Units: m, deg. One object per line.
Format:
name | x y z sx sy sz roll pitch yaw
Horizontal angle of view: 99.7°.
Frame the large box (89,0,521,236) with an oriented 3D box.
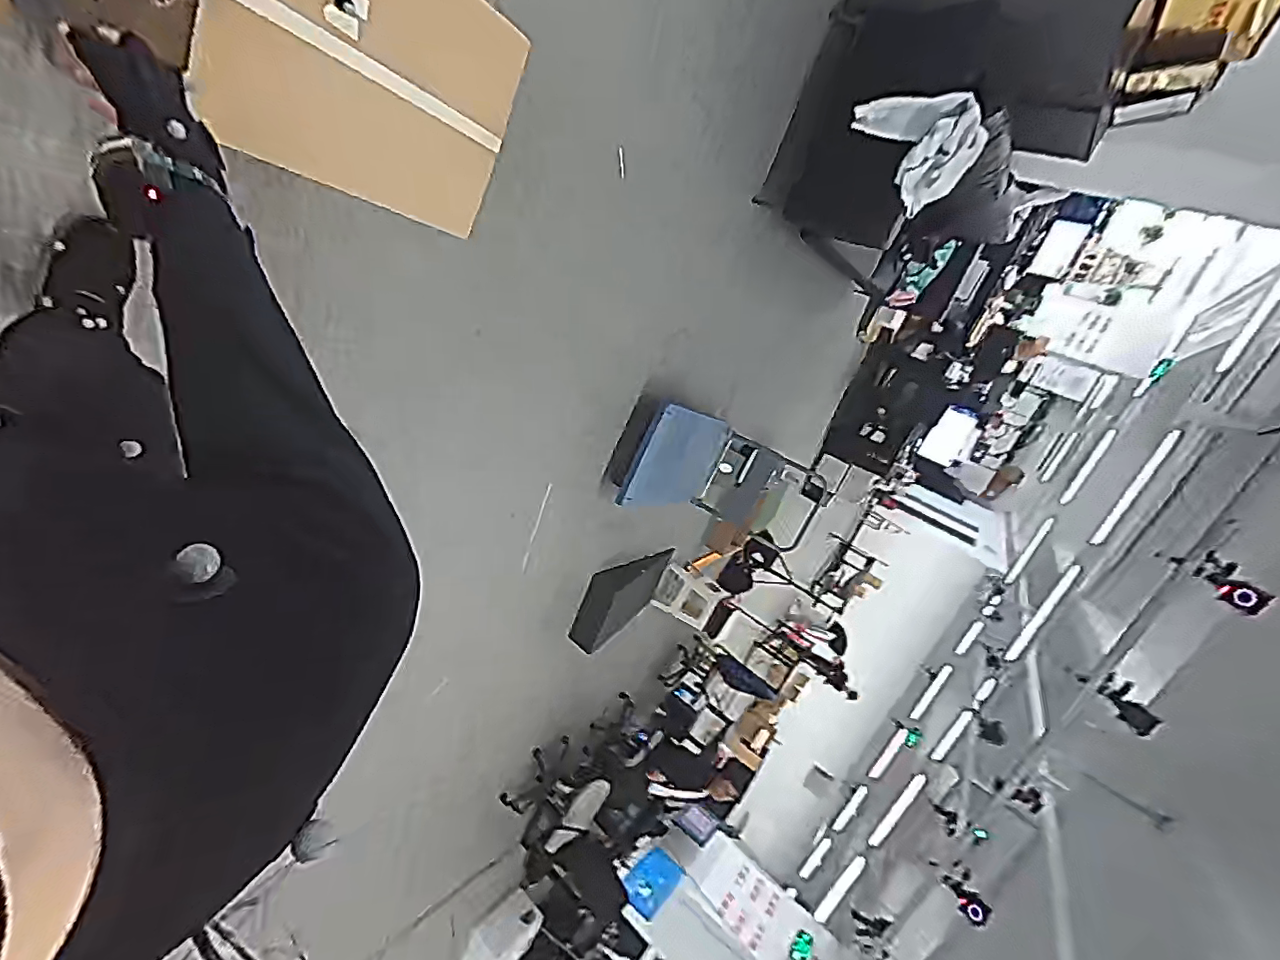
large box | -0.458 -0.611 0.773 0.408 0.320 0.320 -4 126 -57
